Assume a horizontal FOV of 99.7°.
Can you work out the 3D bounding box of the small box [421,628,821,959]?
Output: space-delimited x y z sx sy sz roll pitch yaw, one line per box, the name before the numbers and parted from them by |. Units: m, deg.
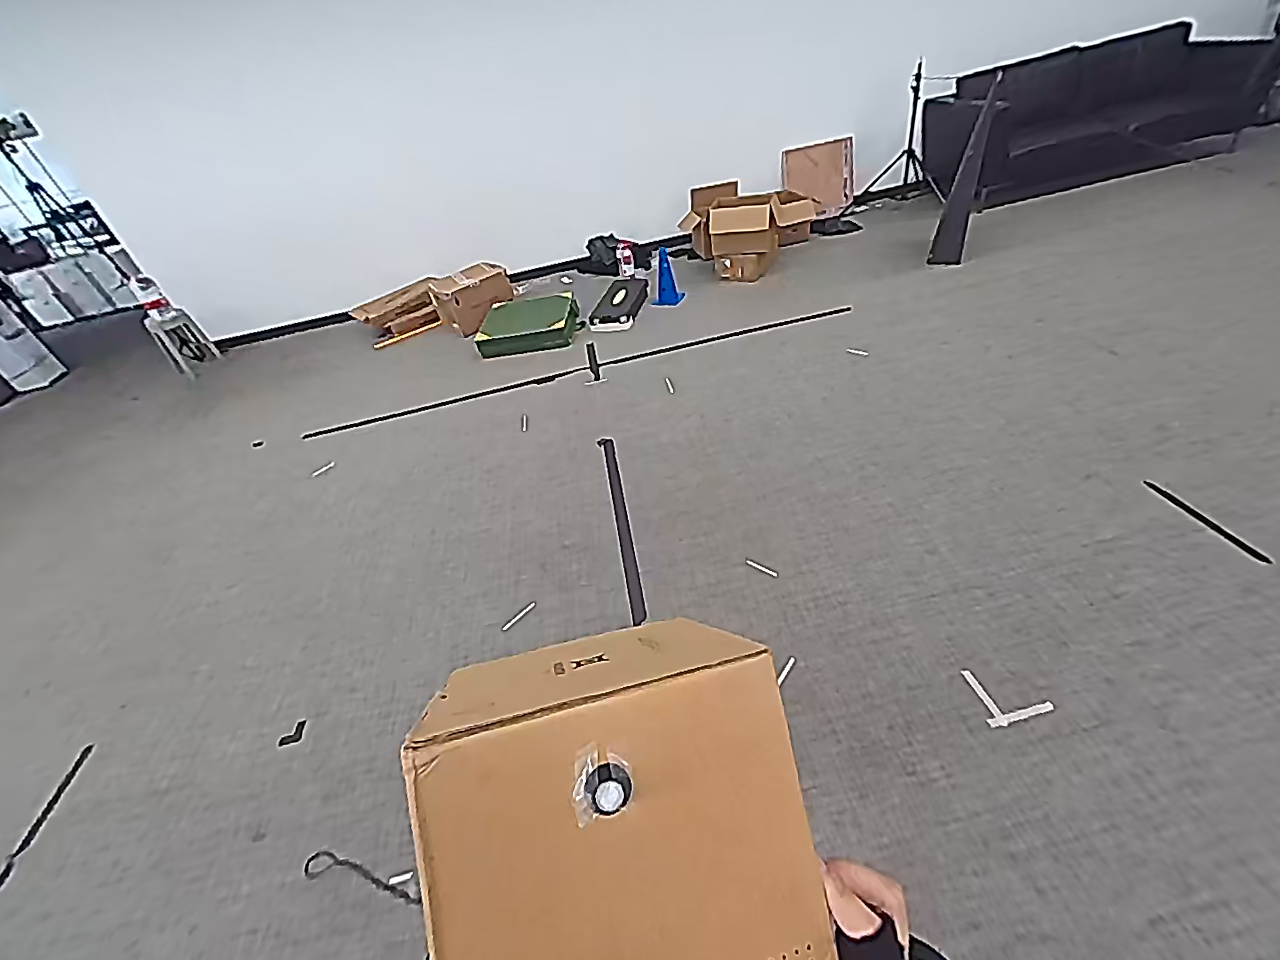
small box | -0.016 0.201 0.331 0.179 0.168 0.176 -9 83 -12
